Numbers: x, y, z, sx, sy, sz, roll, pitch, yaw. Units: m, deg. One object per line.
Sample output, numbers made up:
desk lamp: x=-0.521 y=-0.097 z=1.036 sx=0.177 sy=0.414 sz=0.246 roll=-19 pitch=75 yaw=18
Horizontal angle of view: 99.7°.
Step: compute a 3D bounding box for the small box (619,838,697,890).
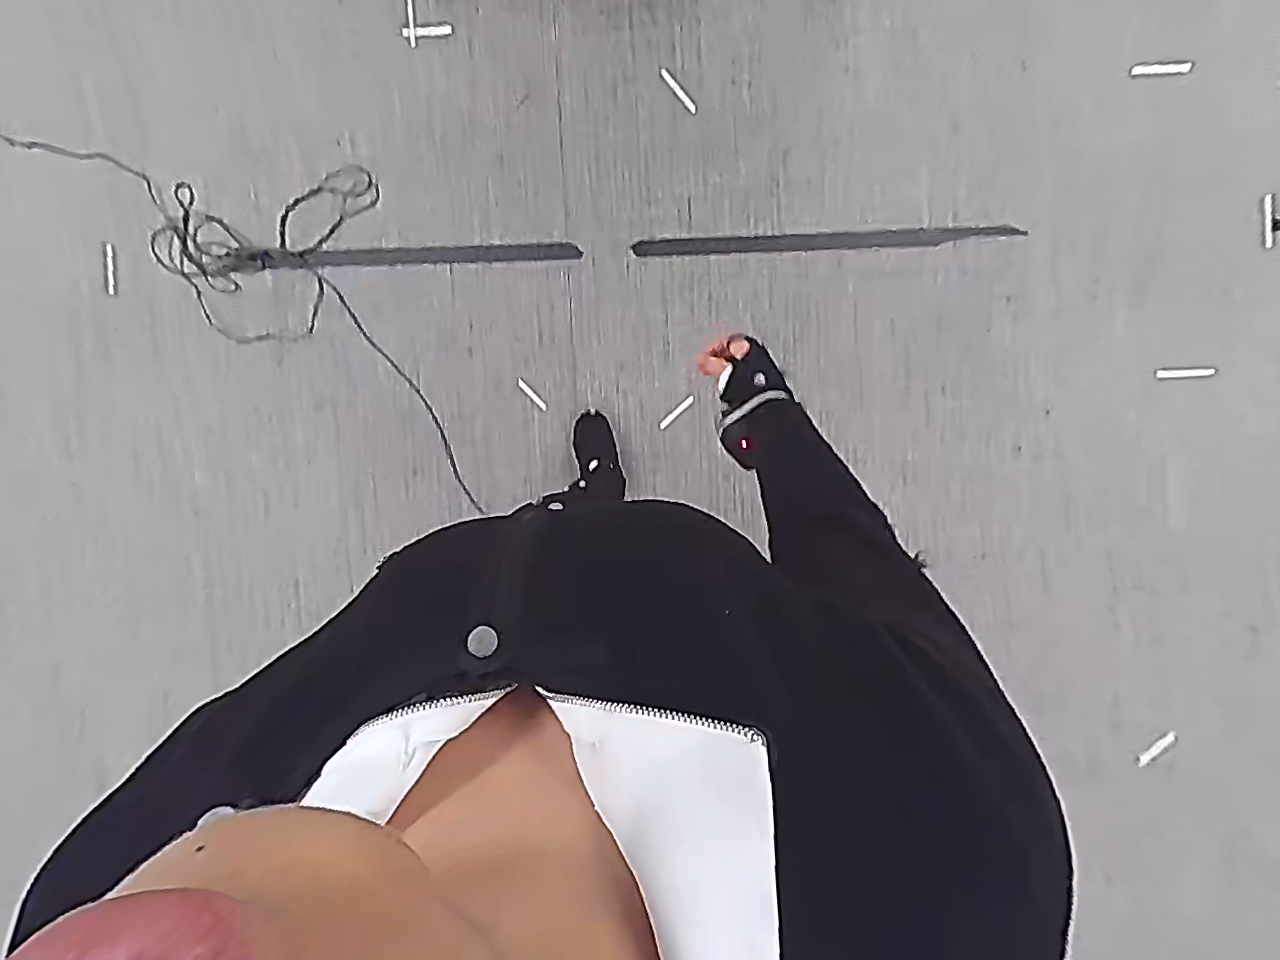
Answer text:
small box: x=0.045 y=0.920 z=1.220 sx=0.168 sy=0.176 sz=0.179 roll=-4 pitch=91 yaw=1
